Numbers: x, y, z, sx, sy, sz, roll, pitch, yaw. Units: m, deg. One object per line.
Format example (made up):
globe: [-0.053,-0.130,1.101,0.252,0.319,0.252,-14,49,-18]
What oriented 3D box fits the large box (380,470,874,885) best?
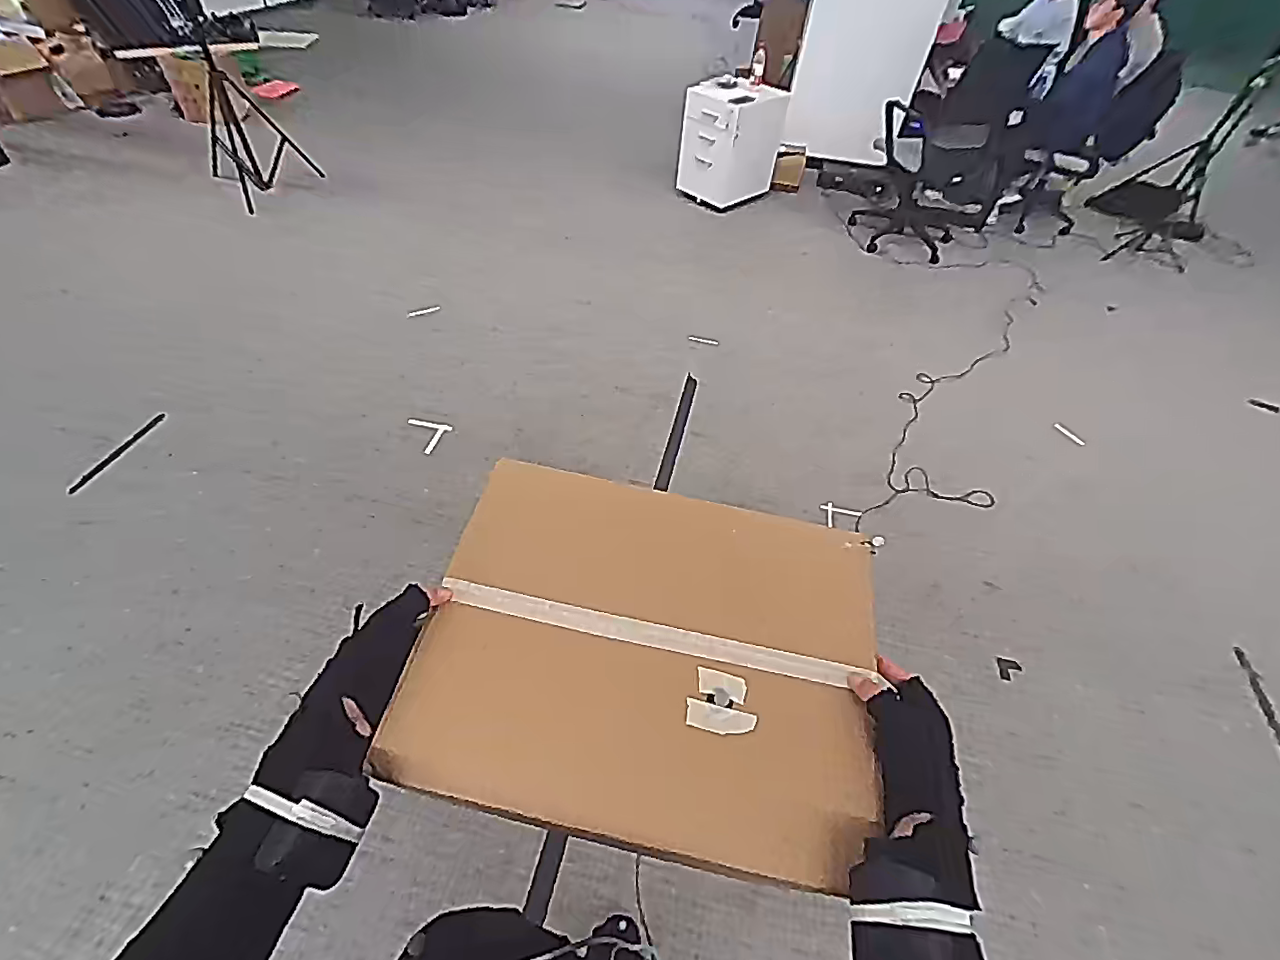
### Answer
large box: [-0.001,0.231,0.625,0.408,0.320,0.320,12,57,3]
